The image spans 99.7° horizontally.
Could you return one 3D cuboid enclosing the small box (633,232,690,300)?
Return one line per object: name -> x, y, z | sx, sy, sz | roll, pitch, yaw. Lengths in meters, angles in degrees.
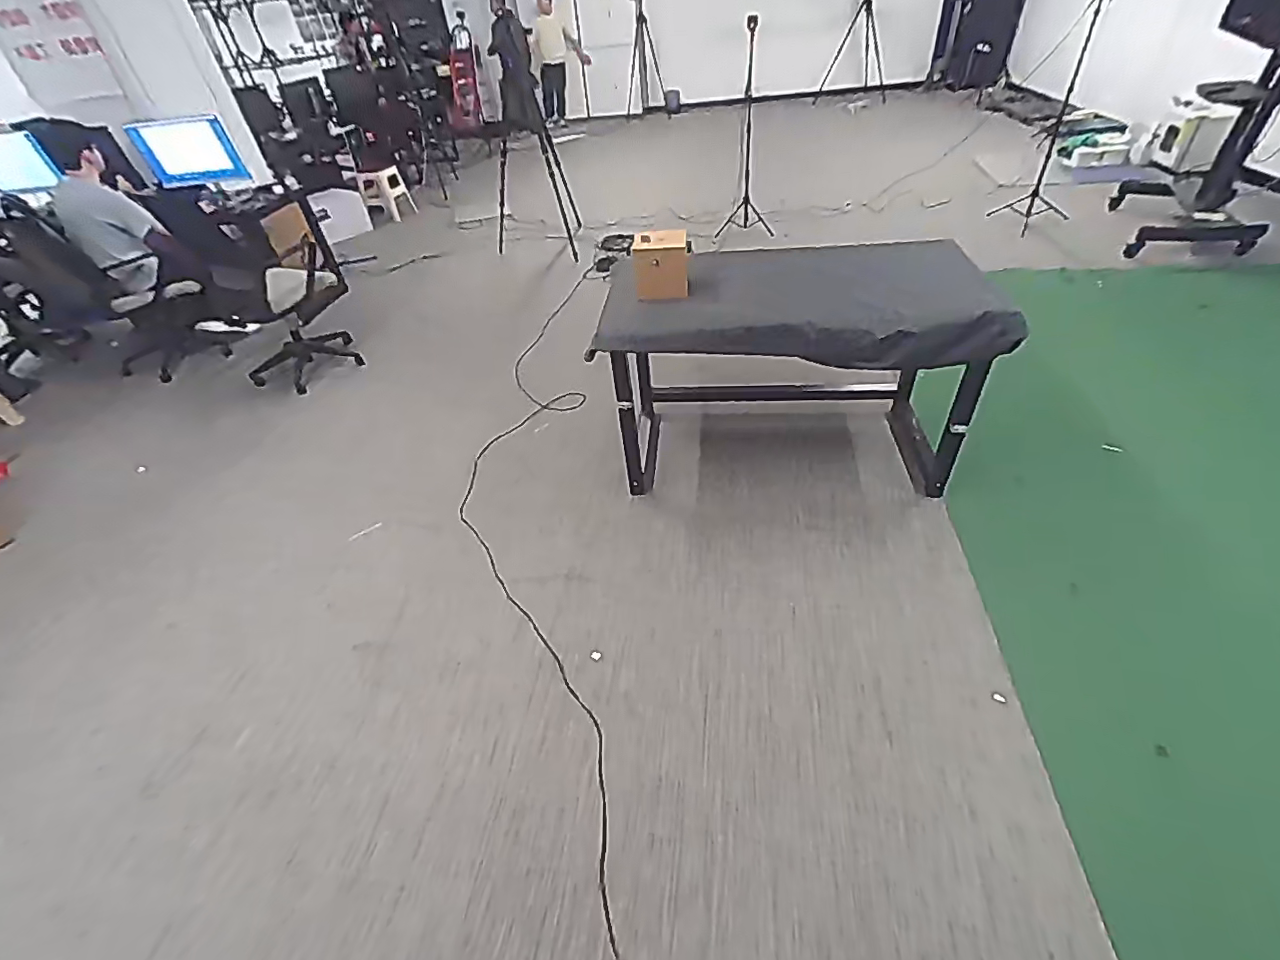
small box -> 0.077, -0.714, 1.811 | 0.179, 0.176, 0.168 | 0, 42, 6
